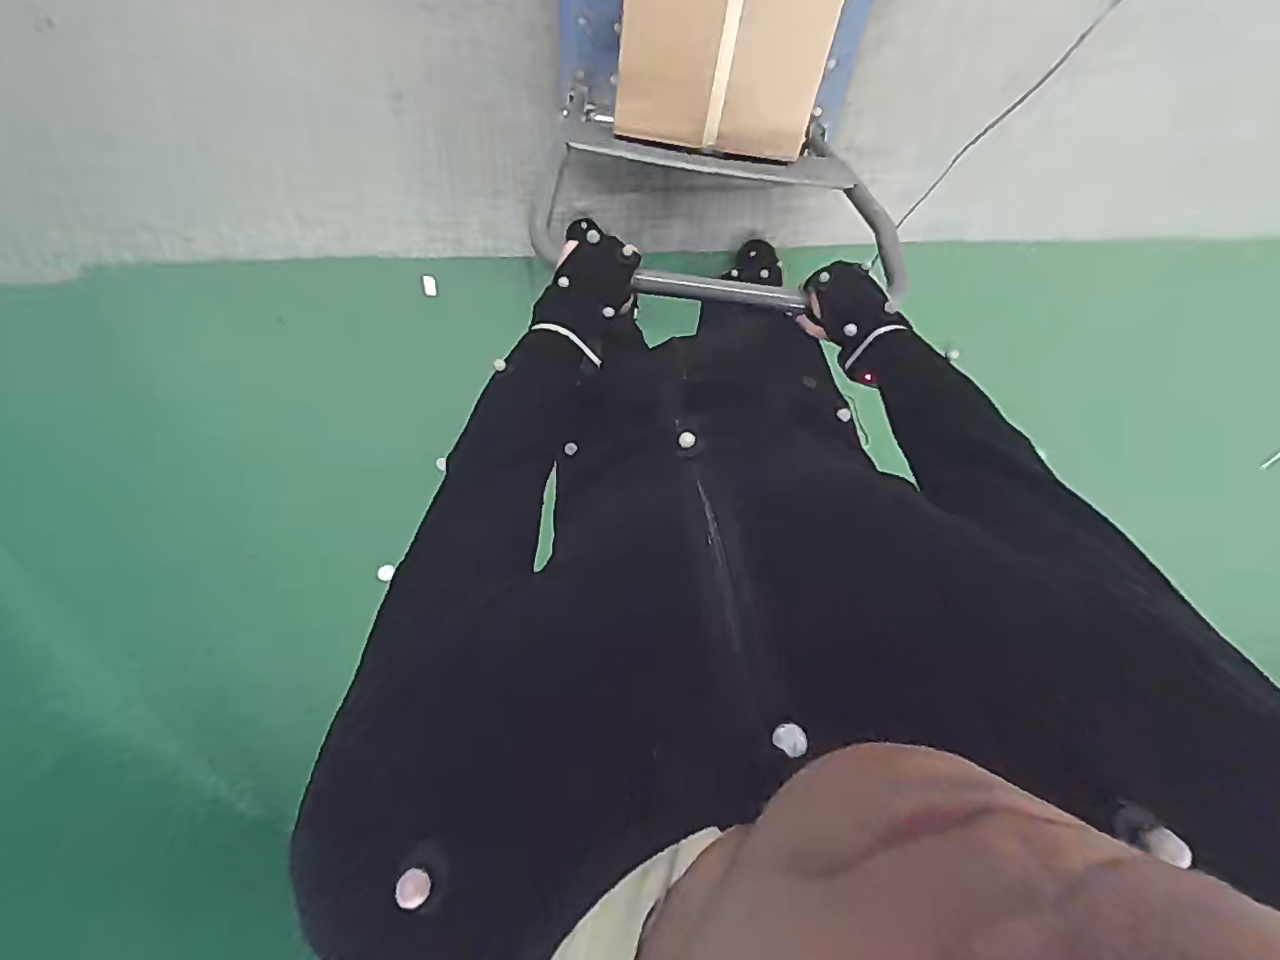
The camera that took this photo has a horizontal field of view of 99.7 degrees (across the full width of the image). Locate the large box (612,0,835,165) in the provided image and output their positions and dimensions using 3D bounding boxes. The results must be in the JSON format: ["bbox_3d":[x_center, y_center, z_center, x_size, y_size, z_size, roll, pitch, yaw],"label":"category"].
[{"bbox_3d":[0.135,-0.800,0.900,0.320,0.320,0.408,7,131,-5],"label":"large box"}]
